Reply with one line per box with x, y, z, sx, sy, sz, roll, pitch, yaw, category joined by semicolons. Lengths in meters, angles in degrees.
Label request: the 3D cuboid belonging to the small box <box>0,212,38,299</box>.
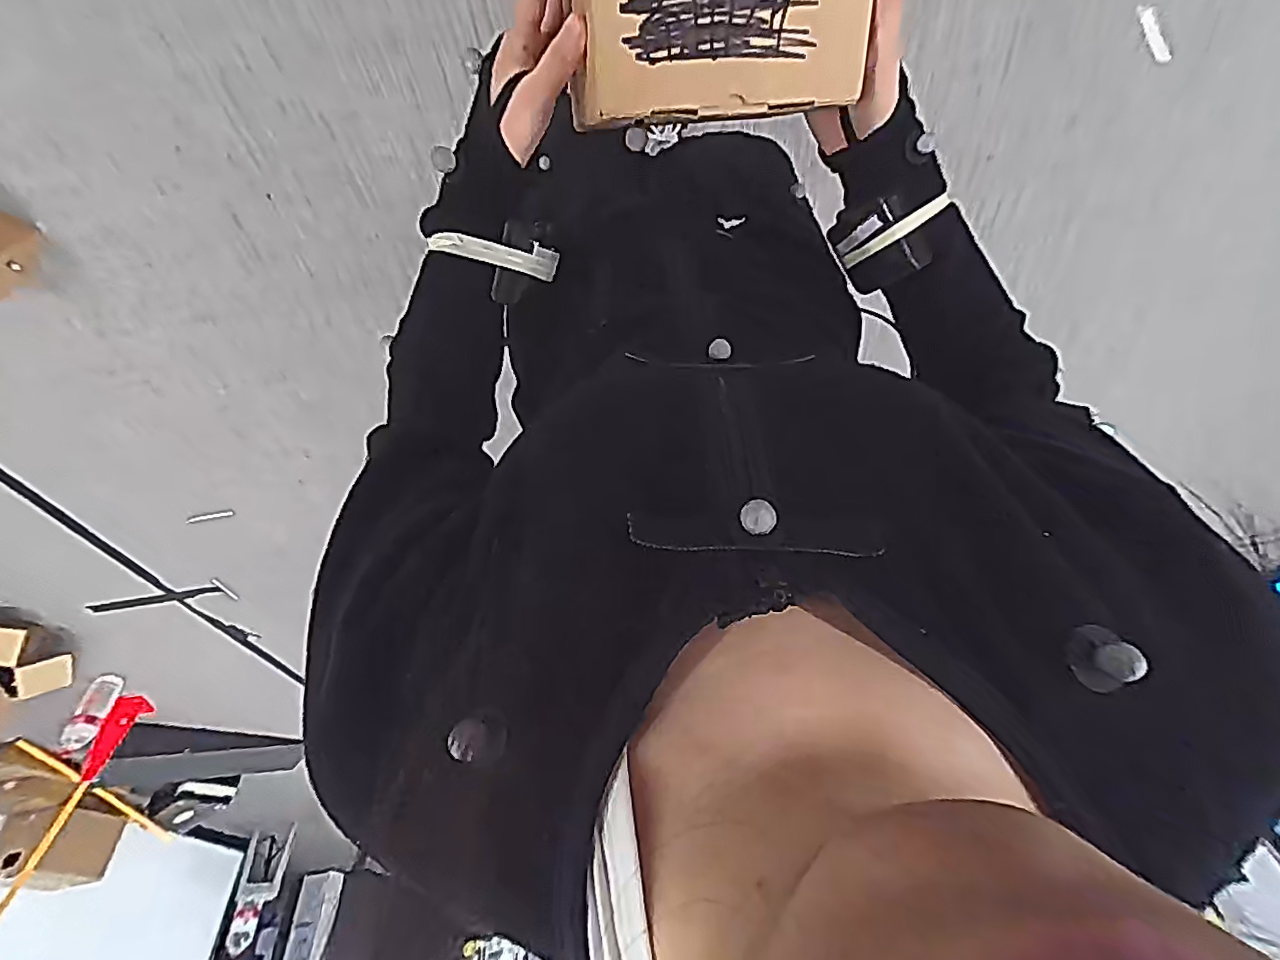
-1.407;-0.478;1.105;0.179;0.176;0.168;32;122;-33;small box
